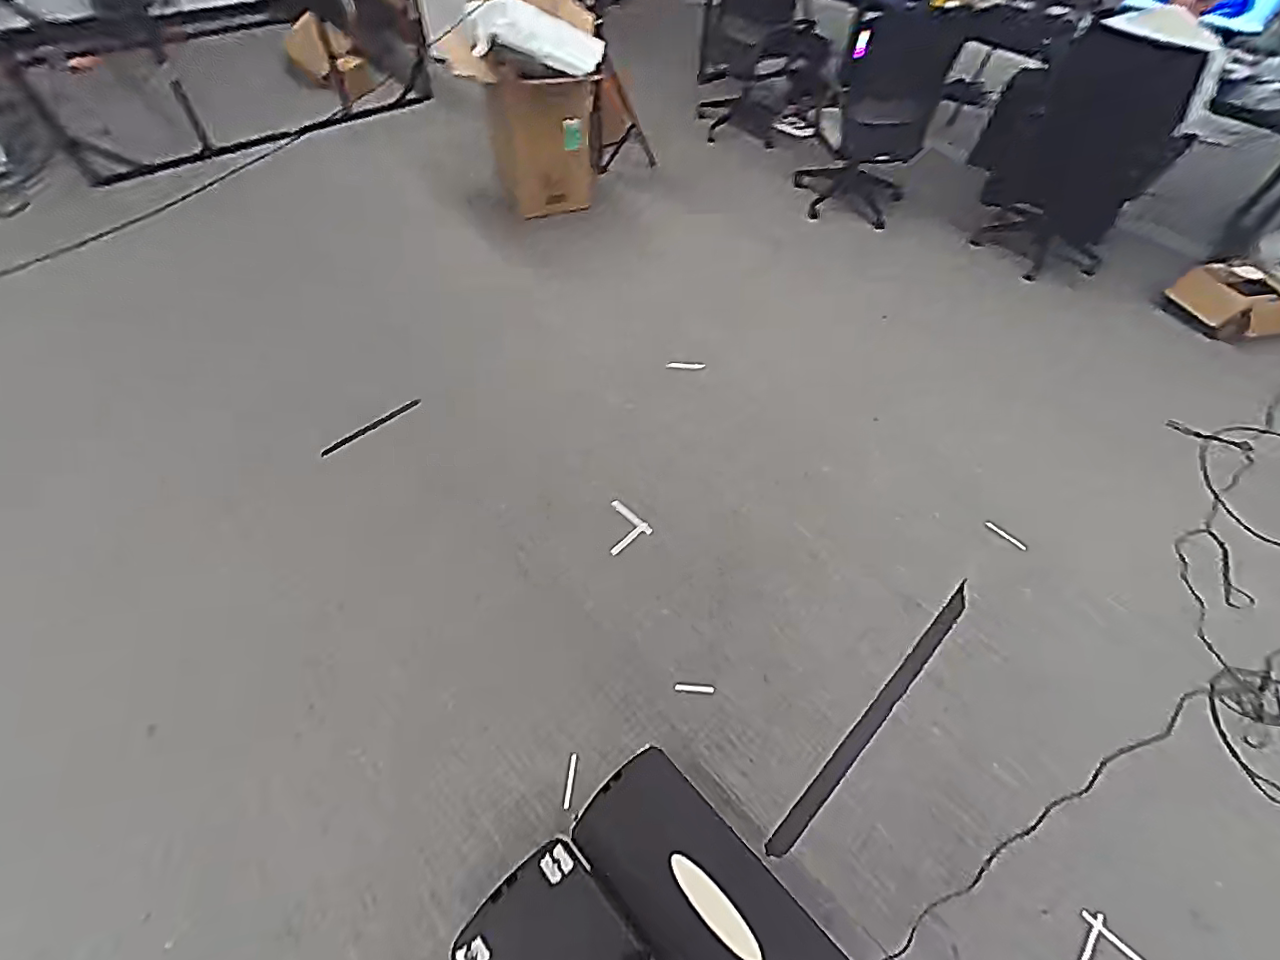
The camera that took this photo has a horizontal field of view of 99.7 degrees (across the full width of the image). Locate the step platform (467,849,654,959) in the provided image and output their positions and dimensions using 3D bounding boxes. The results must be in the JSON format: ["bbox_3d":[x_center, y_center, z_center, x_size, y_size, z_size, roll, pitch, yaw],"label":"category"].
[{"bbox_3d":[-0.034,1.076,0.992,0.286,0.204,0.684,-33,59,-25],"label":"step platform"}]
